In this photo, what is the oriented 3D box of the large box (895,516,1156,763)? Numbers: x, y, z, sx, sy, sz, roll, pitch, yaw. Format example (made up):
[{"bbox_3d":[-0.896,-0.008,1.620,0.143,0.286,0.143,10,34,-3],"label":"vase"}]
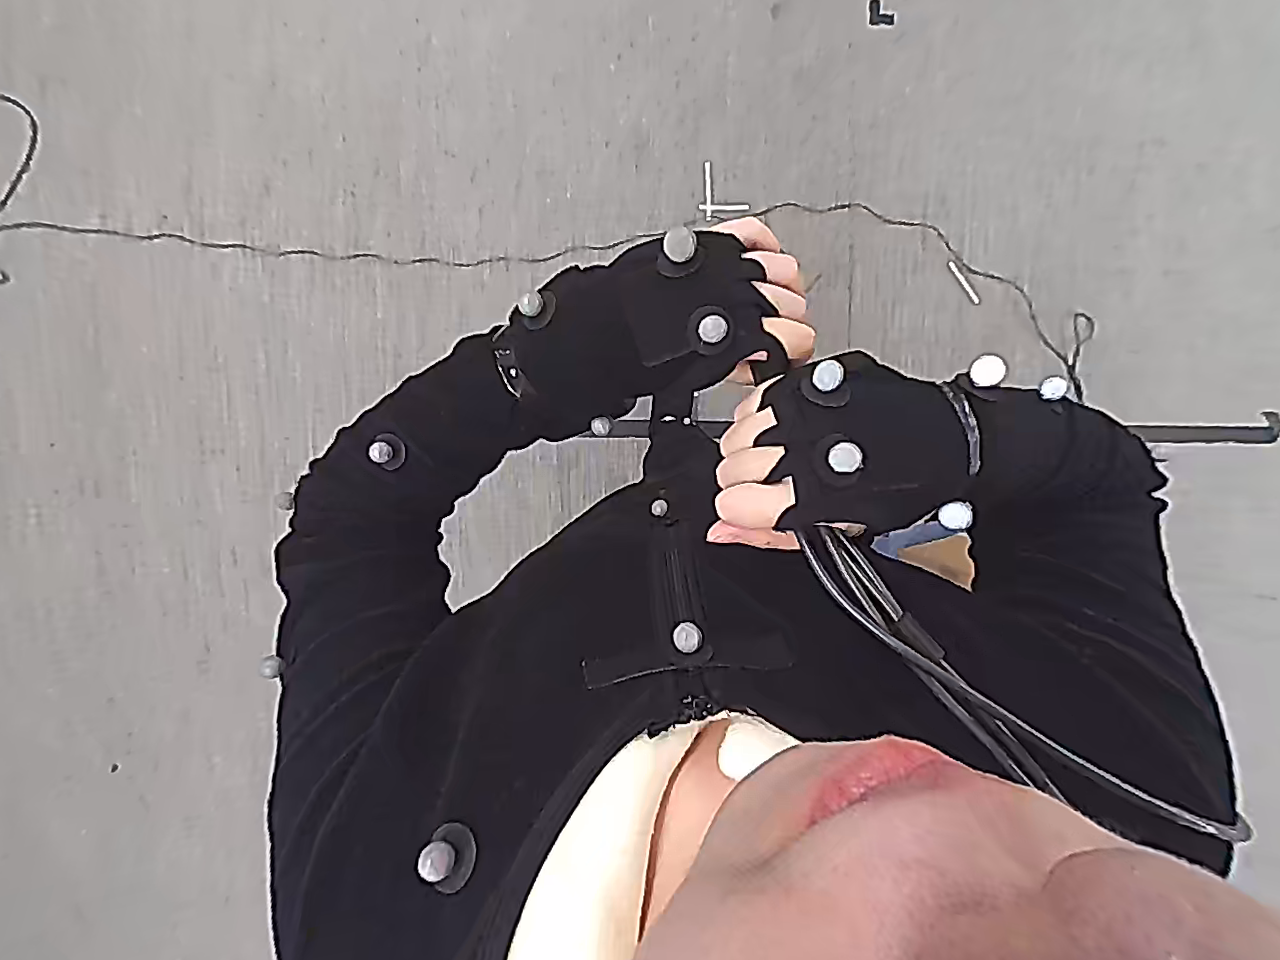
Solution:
[{"bbox_3d":[0.834,0.327,1.215,0.320,0.320,0.408,-15,95,-1],"label":"large box"}]
